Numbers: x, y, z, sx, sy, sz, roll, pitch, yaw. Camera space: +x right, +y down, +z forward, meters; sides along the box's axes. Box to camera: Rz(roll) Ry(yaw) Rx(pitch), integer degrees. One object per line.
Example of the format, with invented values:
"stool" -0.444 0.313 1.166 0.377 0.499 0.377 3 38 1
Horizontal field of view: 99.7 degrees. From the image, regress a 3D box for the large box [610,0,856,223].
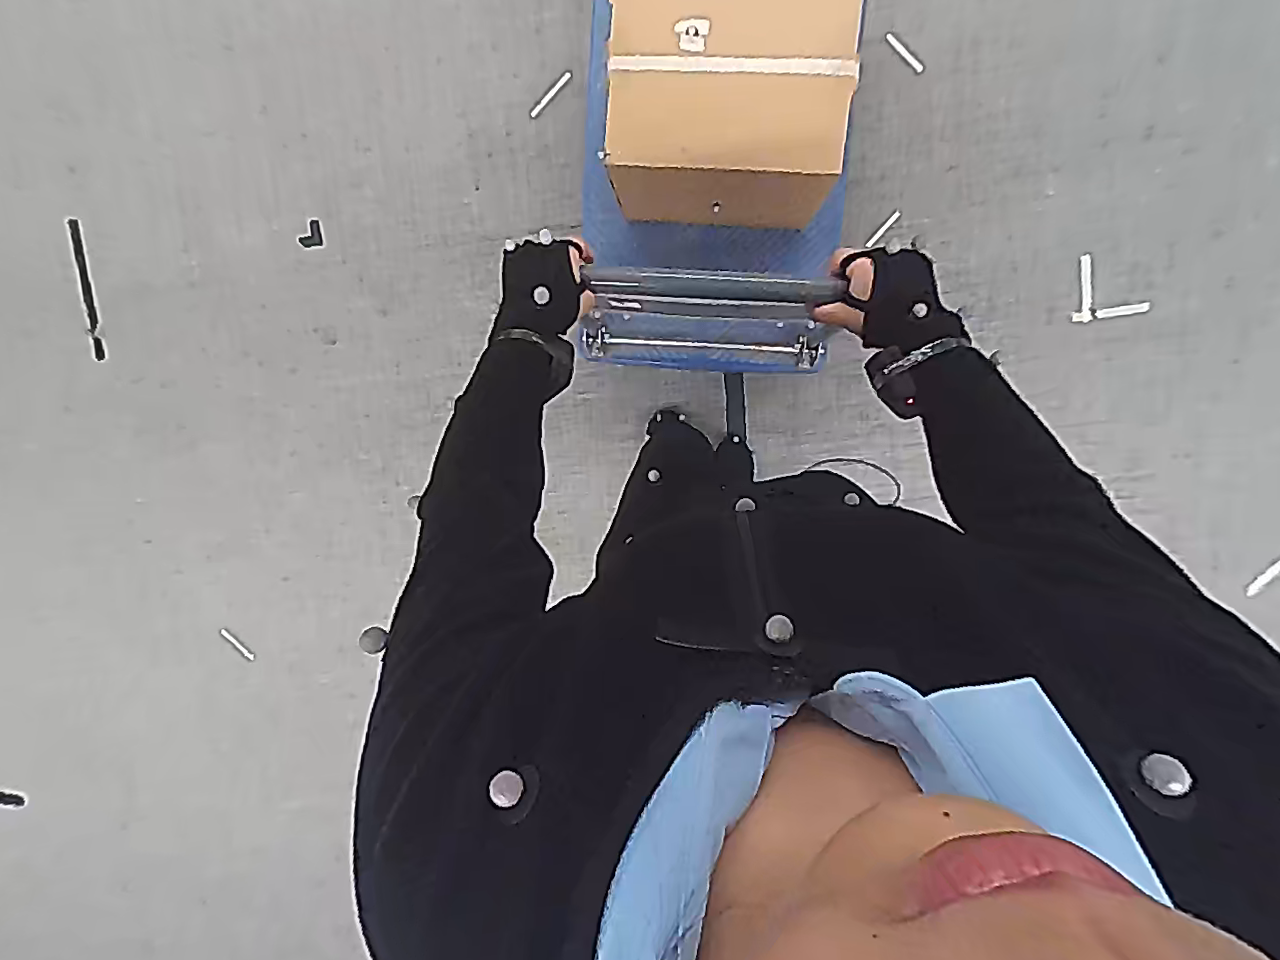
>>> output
"large box" 0.169 -0.714 1.064 0.408 0.320 0.320 5 98 6
